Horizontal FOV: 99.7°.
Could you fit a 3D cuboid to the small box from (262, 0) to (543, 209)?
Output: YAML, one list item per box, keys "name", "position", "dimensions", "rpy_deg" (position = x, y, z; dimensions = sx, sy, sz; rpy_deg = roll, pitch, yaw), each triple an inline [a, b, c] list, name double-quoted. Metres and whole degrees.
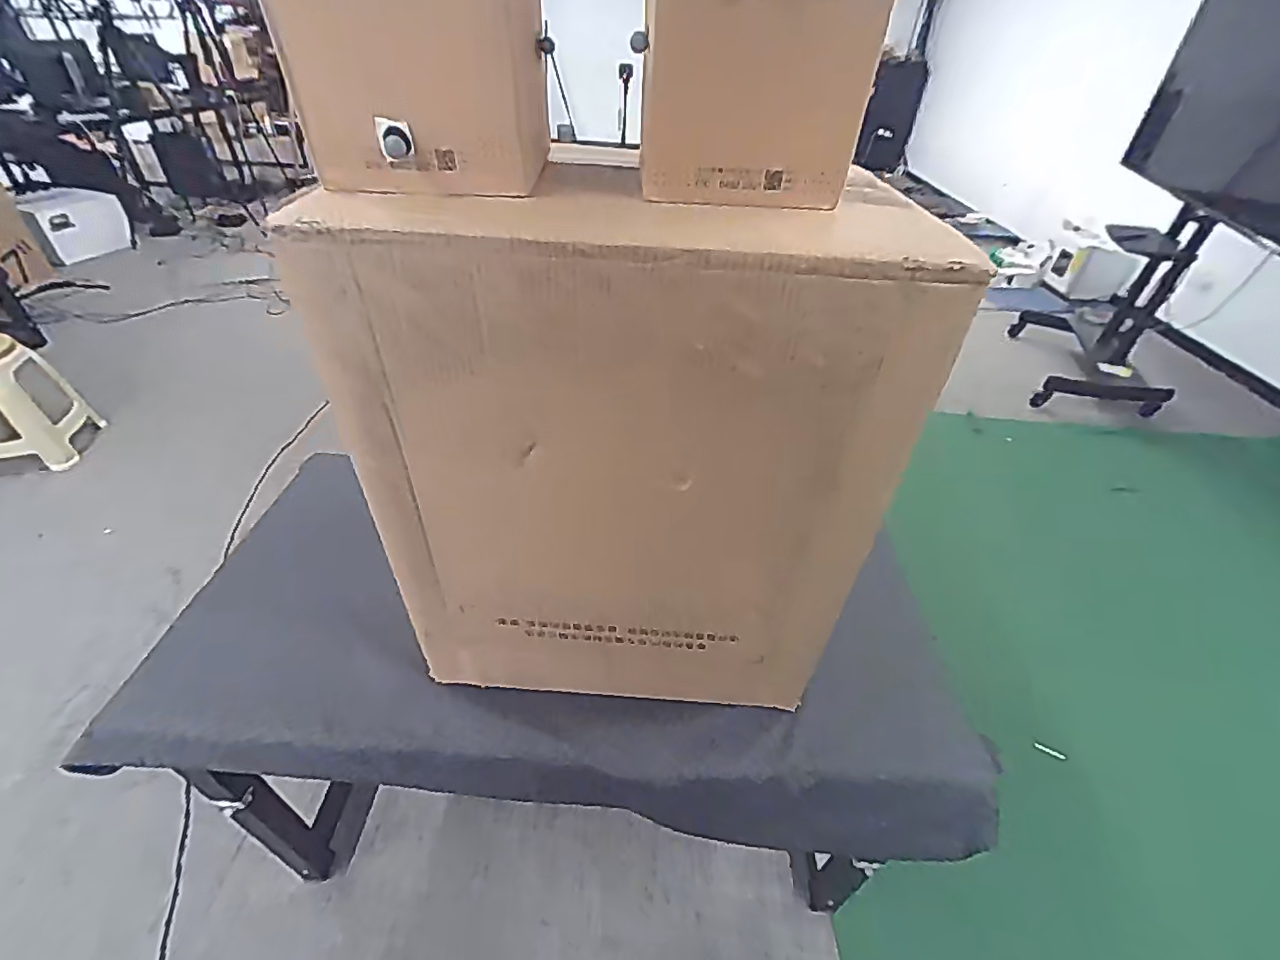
- name: "small box"
  position: [-0.176, -0.339, 0.445]
  dimensions: [0.168, 0.176, 0.179]
  rpy_deg: [-2, 43, -1]

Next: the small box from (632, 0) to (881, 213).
- name: "small box"
  position: [0.078, -0.343, 0.460]
  dimensions: [0.168, 0.176, 0.179]
  rpy_deg: [0, 41, -3]
